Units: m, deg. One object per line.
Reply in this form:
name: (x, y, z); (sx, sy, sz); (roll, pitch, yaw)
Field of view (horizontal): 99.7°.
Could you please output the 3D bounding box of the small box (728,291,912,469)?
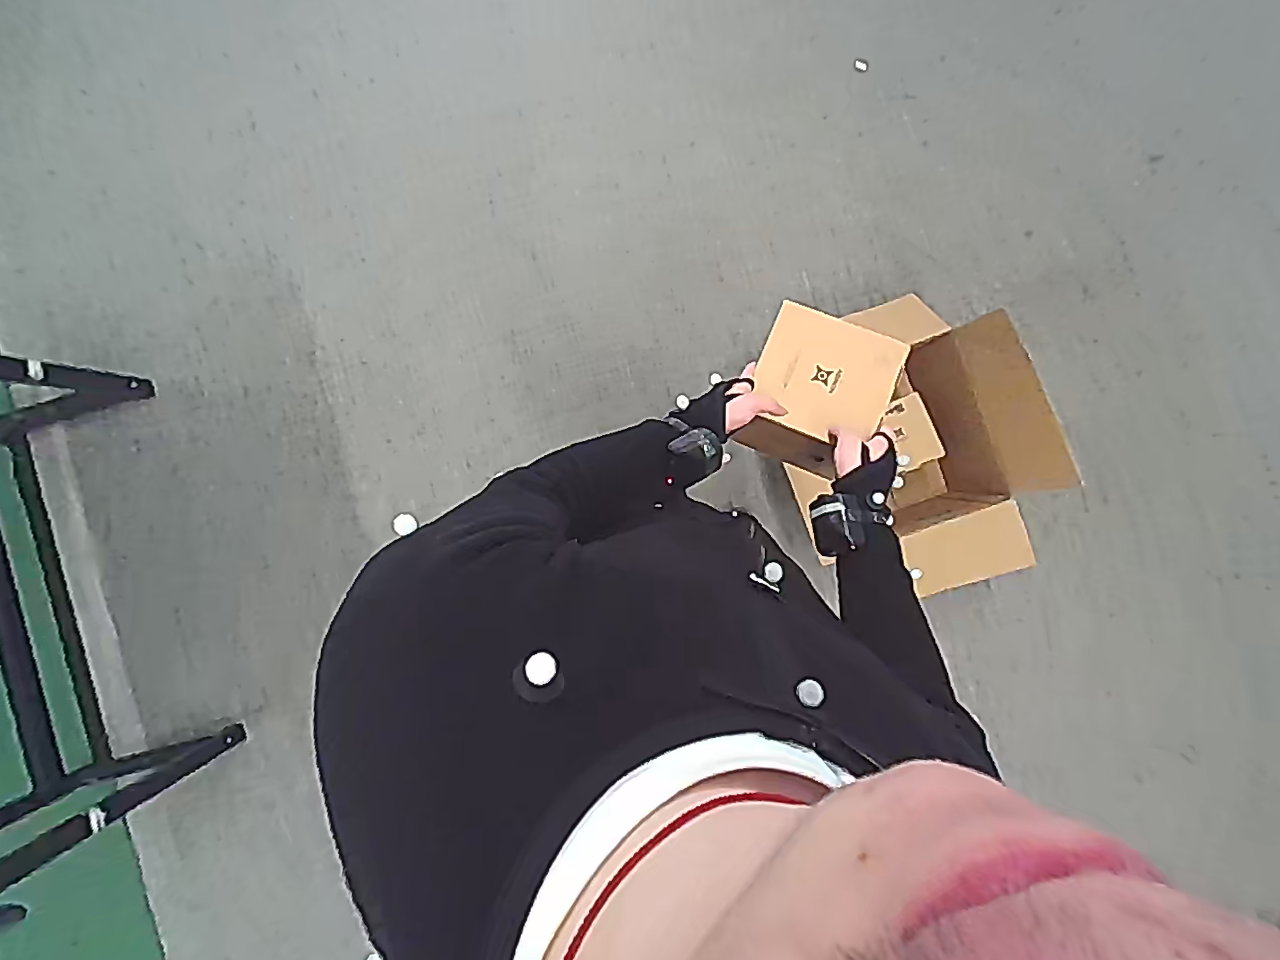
small box: (0.240, -0.127, 0.764); (0.179, 0.176, 0.168); (24, 81, 9)
